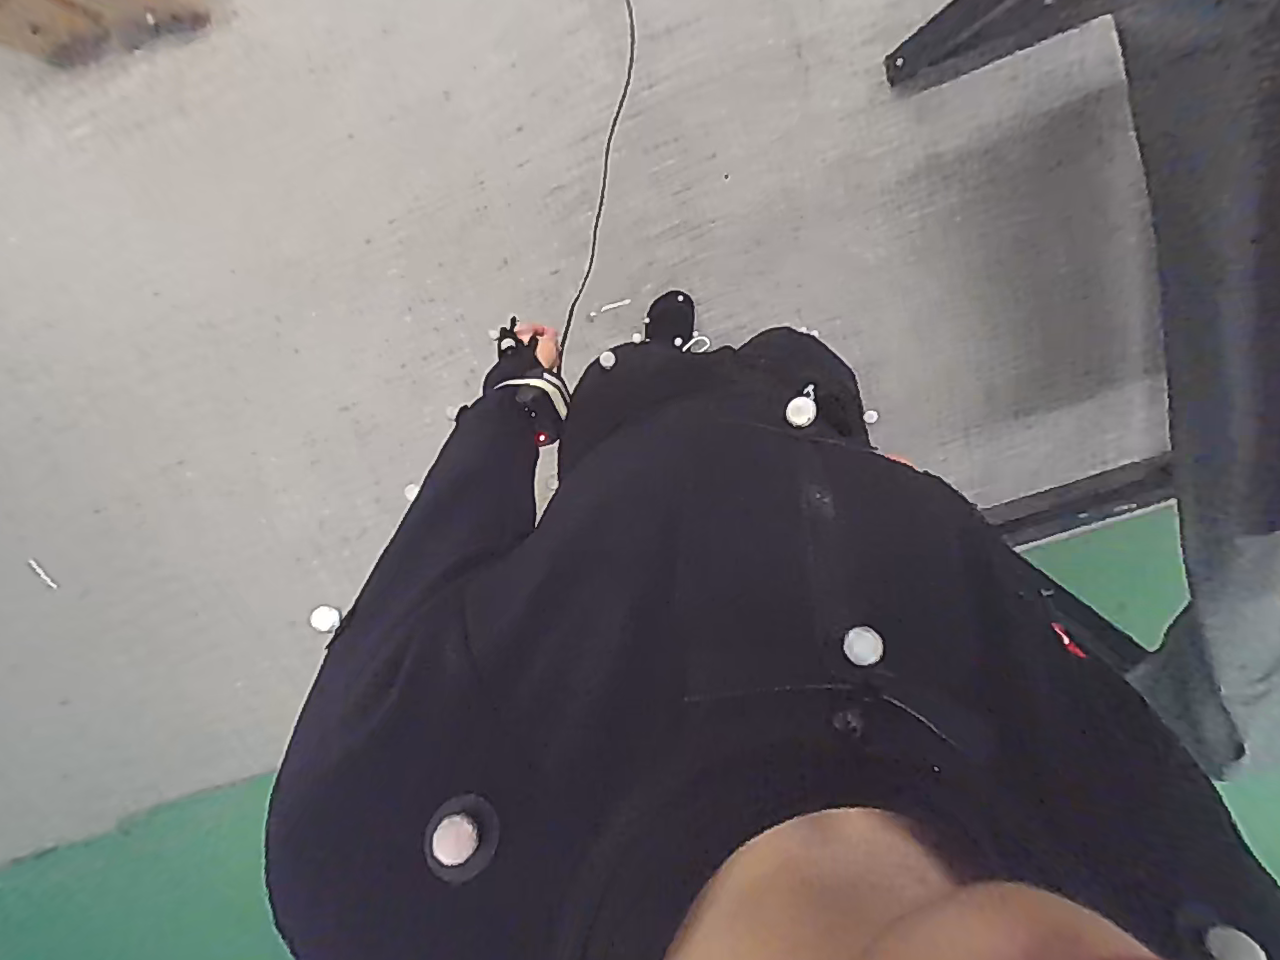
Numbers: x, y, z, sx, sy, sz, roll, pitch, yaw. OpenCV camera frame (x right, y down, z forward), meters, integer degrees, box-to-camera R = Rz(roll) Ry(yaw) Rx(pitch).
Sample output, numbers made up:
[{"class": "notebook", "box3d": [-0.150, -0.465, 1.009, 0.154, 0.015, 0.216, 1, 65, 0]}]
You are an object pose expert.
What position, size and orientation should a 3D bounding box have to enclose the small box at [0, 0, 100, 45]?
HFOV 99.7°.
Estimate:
[{"class": "small box", "box3d": [-1.140, -0.912, 0.956, 0.168, 0.176, 0.179, -15, 112, 6]}]
